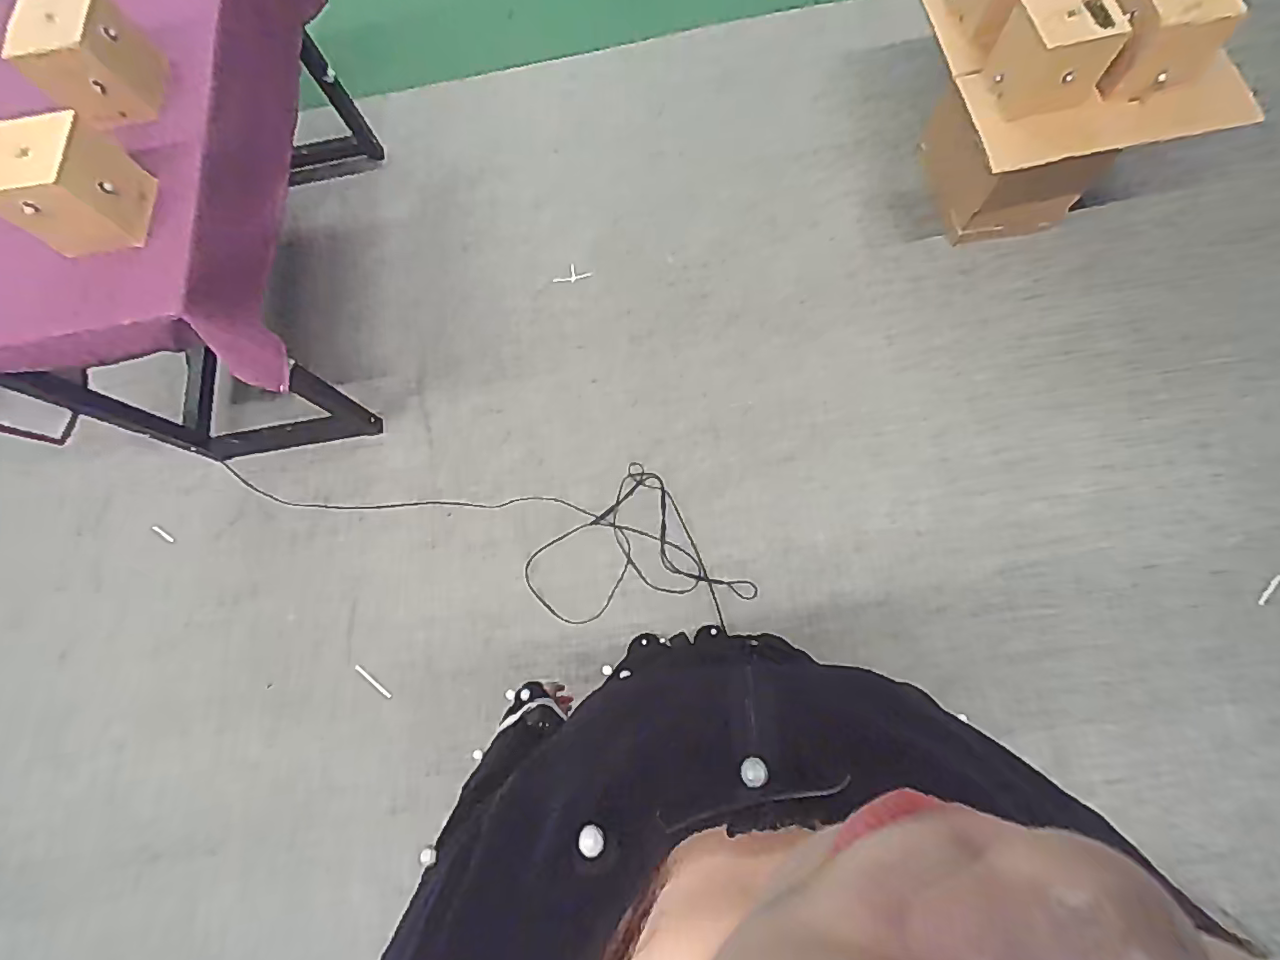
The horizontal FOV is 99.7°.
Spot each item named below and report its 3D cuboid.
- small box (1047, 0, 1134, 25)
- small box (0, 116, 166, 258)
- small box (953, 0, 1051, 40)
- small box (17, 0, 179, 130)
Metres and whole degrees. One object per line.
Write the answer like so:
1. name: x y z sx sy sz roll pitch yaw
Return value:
1. small box: 1.091 -1.223 1.266 0.179 0.176 0.168 -10 72 2
2. small box: -1.090 -0.564 1.058 0.179 0.176 0.168 -5 74 6
3. small box: 0.878 -1.197 1.282 0.179 0.176 0.168 -14 73 2
4. small box: -1.139 -0.881 1.152 0.168 0.176 0.179 -6 73 4
